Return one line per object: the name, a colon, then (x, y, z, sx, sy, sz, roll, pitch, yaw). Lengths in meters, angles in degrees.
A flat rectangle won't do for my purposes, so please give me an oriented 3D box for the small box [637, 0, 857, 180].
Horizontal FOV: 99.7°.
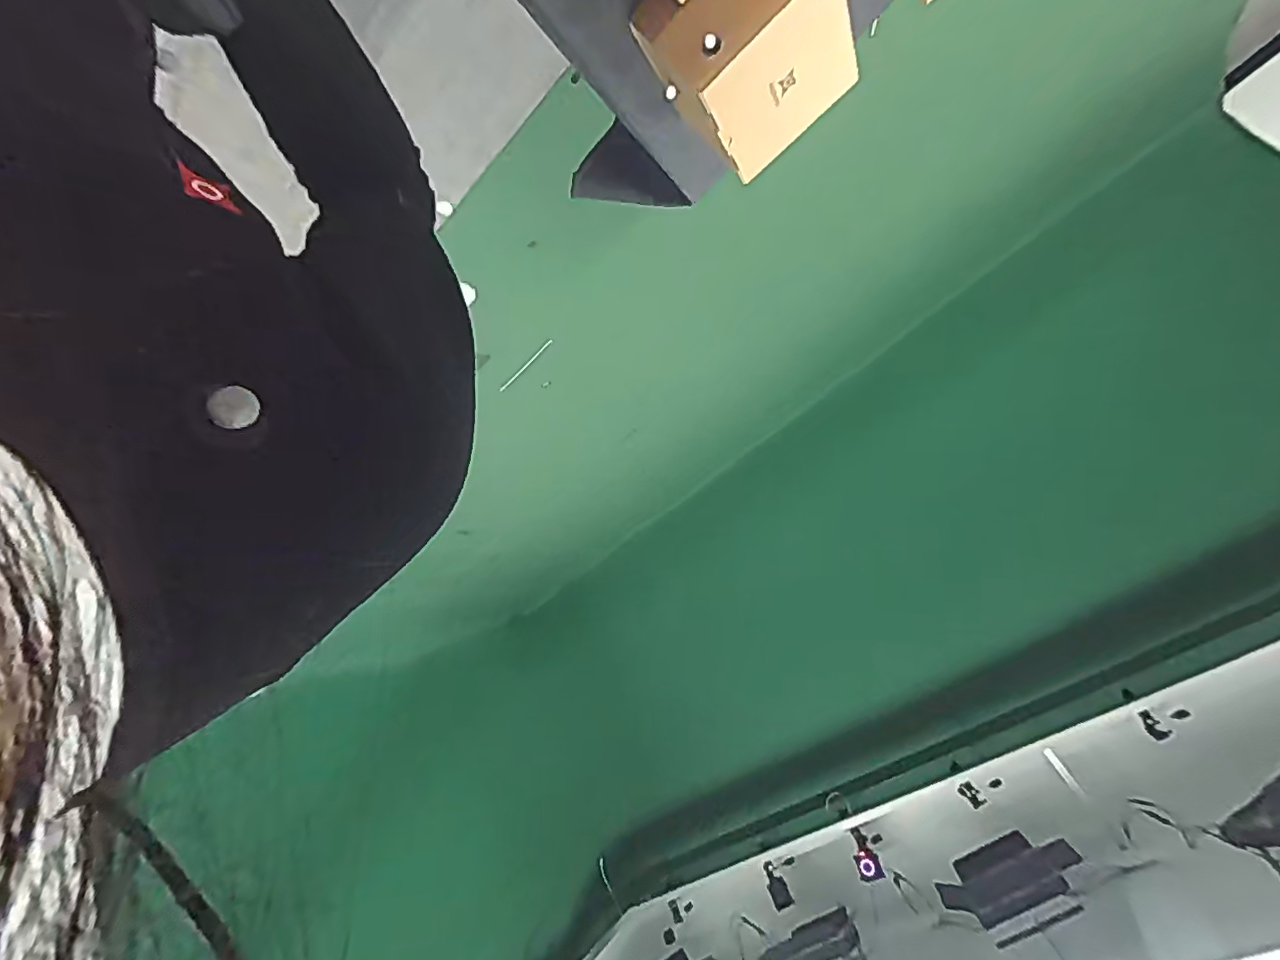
small box: (0.129, -0.522, 0.650, 0.179, 0.176, 0.168, -38, 157, 18)
